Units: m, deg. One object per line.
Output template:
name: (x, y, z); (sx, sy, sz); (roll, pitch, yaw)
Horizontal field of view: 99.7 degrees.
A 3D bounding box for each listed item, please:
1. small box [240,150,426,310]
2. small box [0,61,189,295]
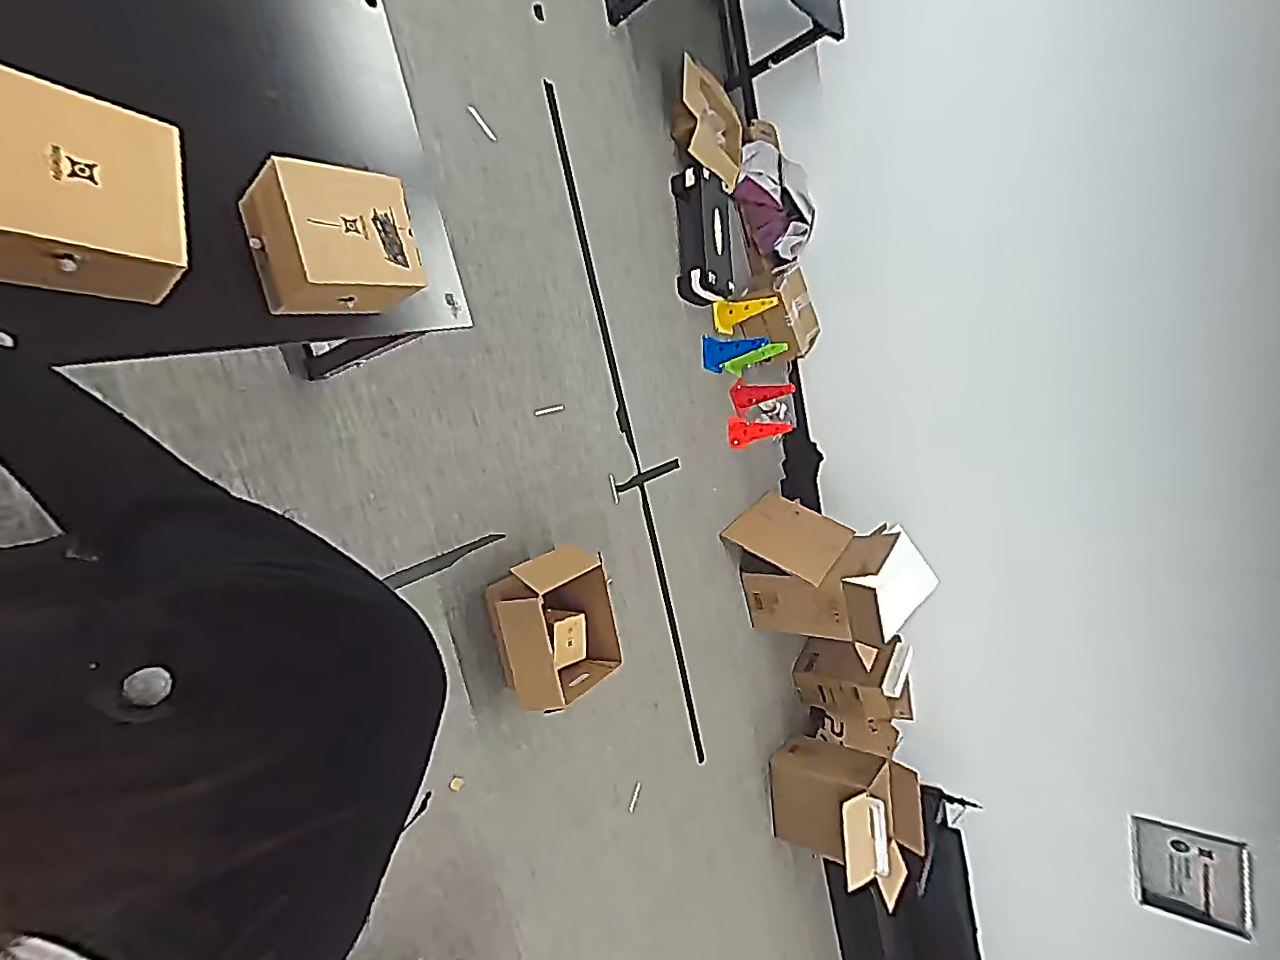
small box: (-0.462, -0.362, 0.818); (0.179, 0.176, 0.168); (-22, 103, -47)
small box: (-0.641, -0.320, 0.607); (0.179, 0.176, 0.168); (-5, 91, -49)
